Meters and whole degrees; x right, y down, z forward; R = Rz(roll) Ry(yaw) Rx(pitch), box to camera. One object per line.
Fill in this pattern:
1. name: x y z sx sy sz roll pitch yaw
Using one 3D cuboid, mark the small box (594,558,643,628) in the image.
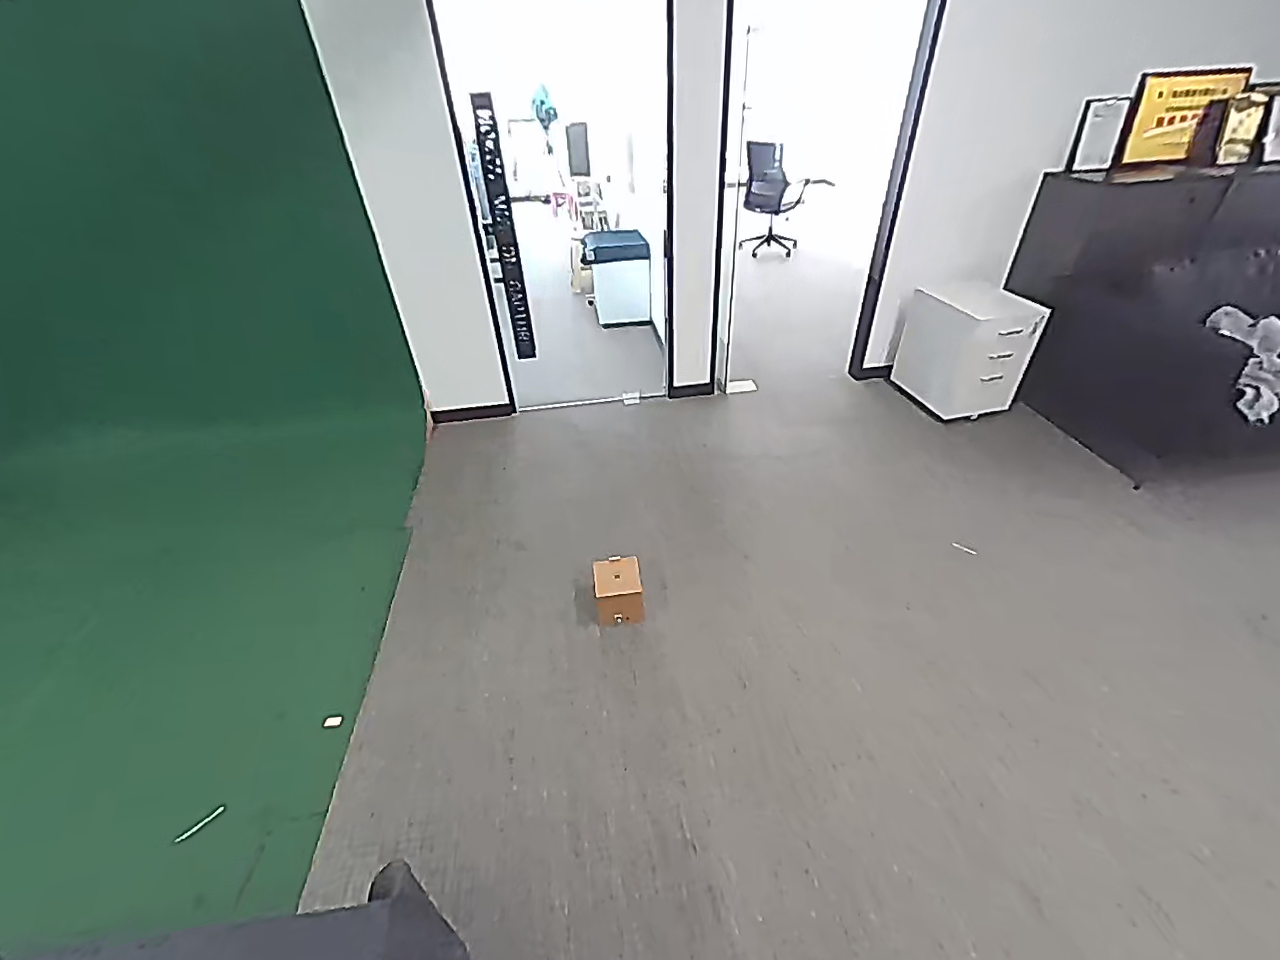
1. small box: -0.079 0.411 1.971 0.168 0.176 0.179 -6 37 -2
